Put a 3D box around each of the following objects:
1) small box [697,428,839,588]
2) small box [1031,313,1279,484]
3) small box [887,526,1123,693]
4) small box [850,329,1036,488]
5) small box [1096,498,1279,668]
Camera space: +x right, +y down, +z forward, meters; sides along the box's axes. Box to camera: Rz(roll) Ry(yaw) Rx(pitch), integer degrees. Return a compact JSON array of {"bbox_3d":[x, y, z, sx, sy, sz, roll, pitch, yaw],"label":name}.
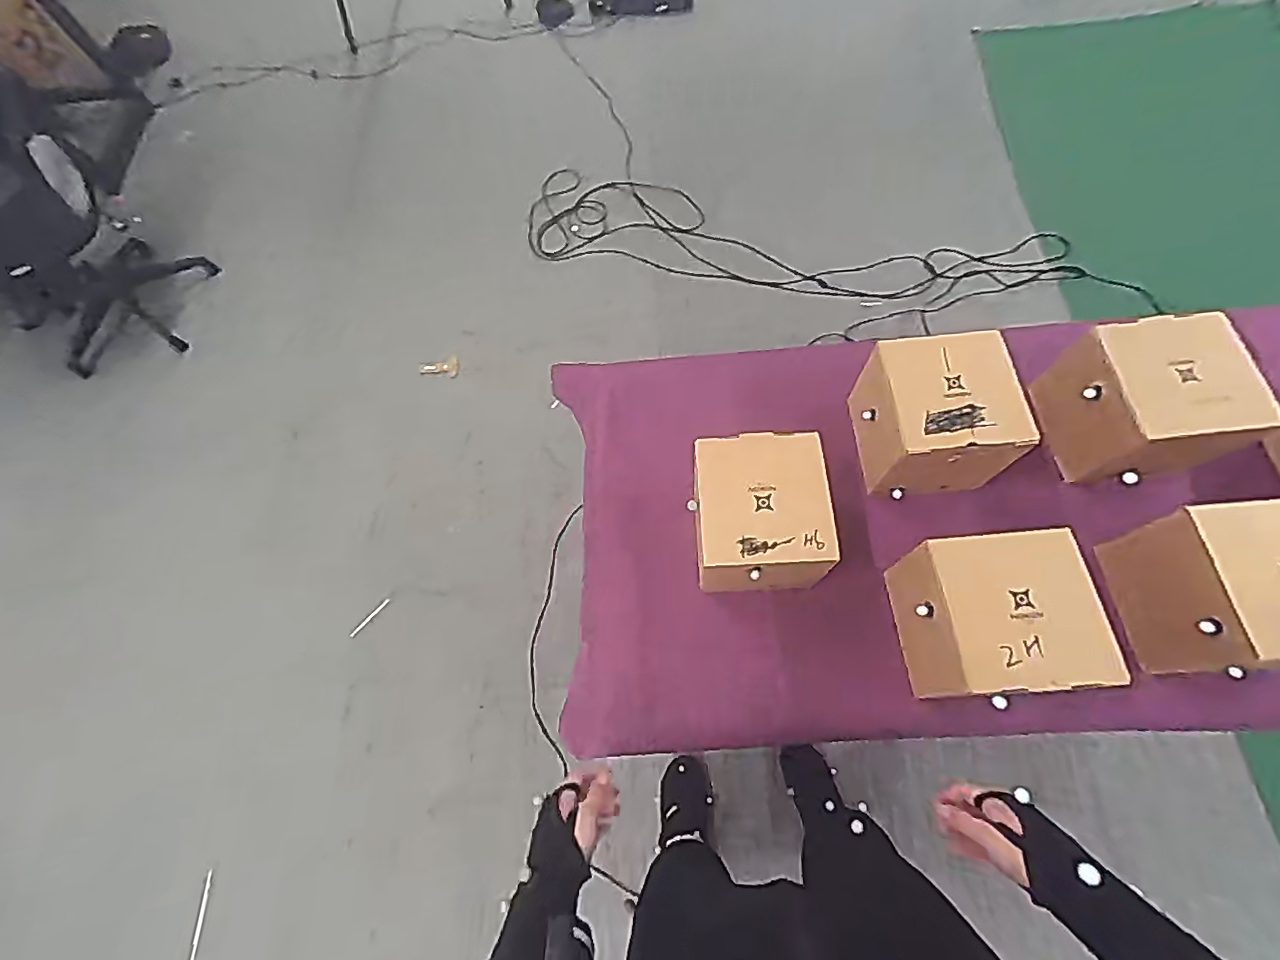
[{"bbox_3d":[0.165,0.046,0.758,0.168,0.176,0.179,-3,67,6],"label":"small box"},{"bbox_3d":[0.708,-0.109,0.774,0.168,0.176,0.179,-5,69,4],"label":"small box"},{"bbox_3d":[0.435,0.170,0.683,0.168,0.176,0.179,-5,67,4],"label":"small box"},{"bbox_3d":[0.424,-0.093,0.792,0.168,0.176,0.179,-4,67,3],"label":"small box"},{"bbox_3d":[0.729,0.134,0.673,0.168,0.176,0.179,-4,68,3],"label":"small box"}]
